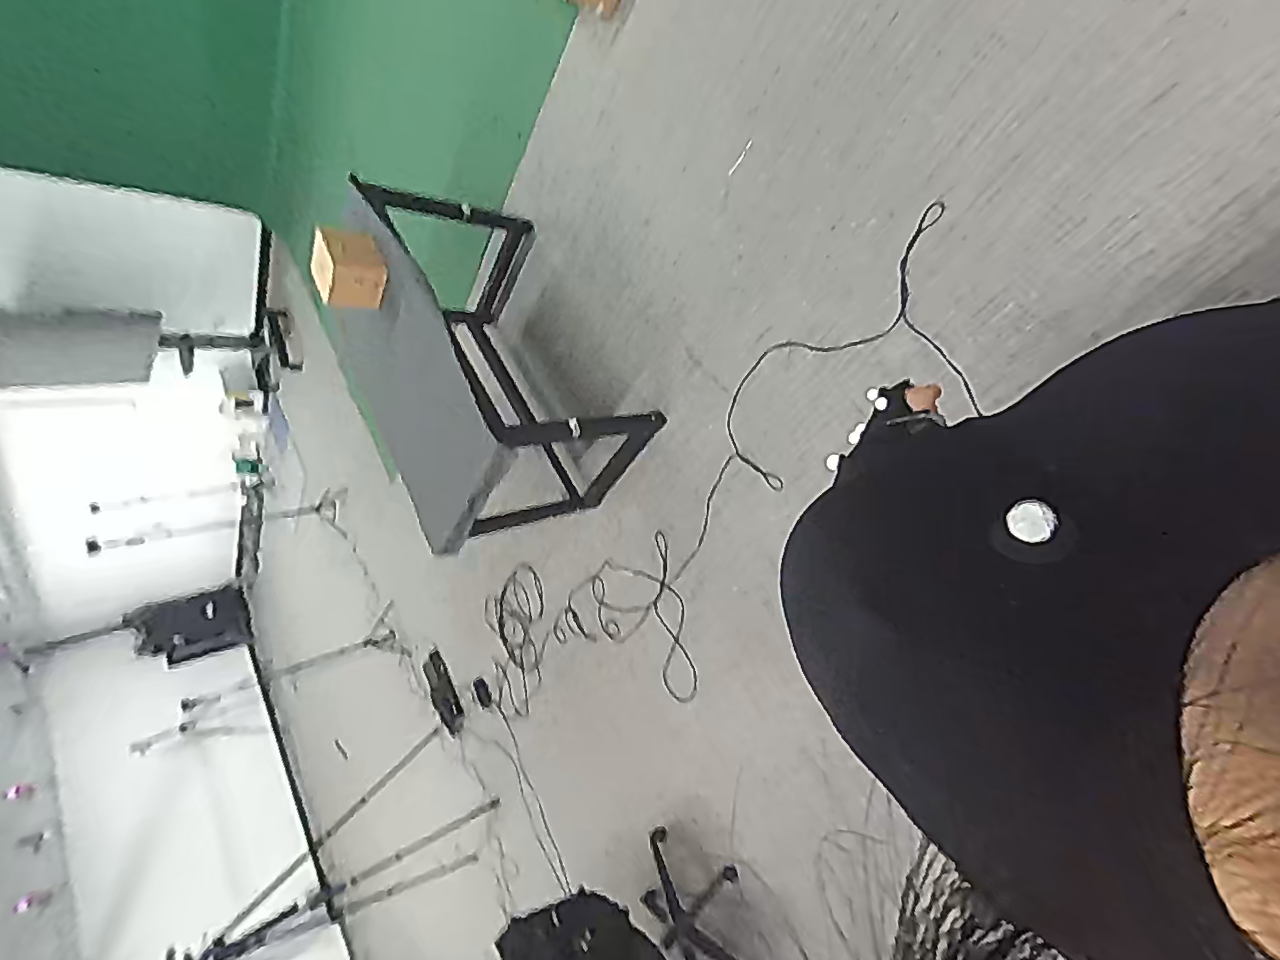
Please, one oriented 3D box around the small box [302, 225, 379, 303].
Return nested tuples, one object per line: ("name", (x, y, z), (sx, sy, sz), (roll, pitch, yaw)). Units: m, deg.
("small box", (-0.973, -0.695, 1.761), (0.168, 0.176, 0.179), (-45, 67, 40))
